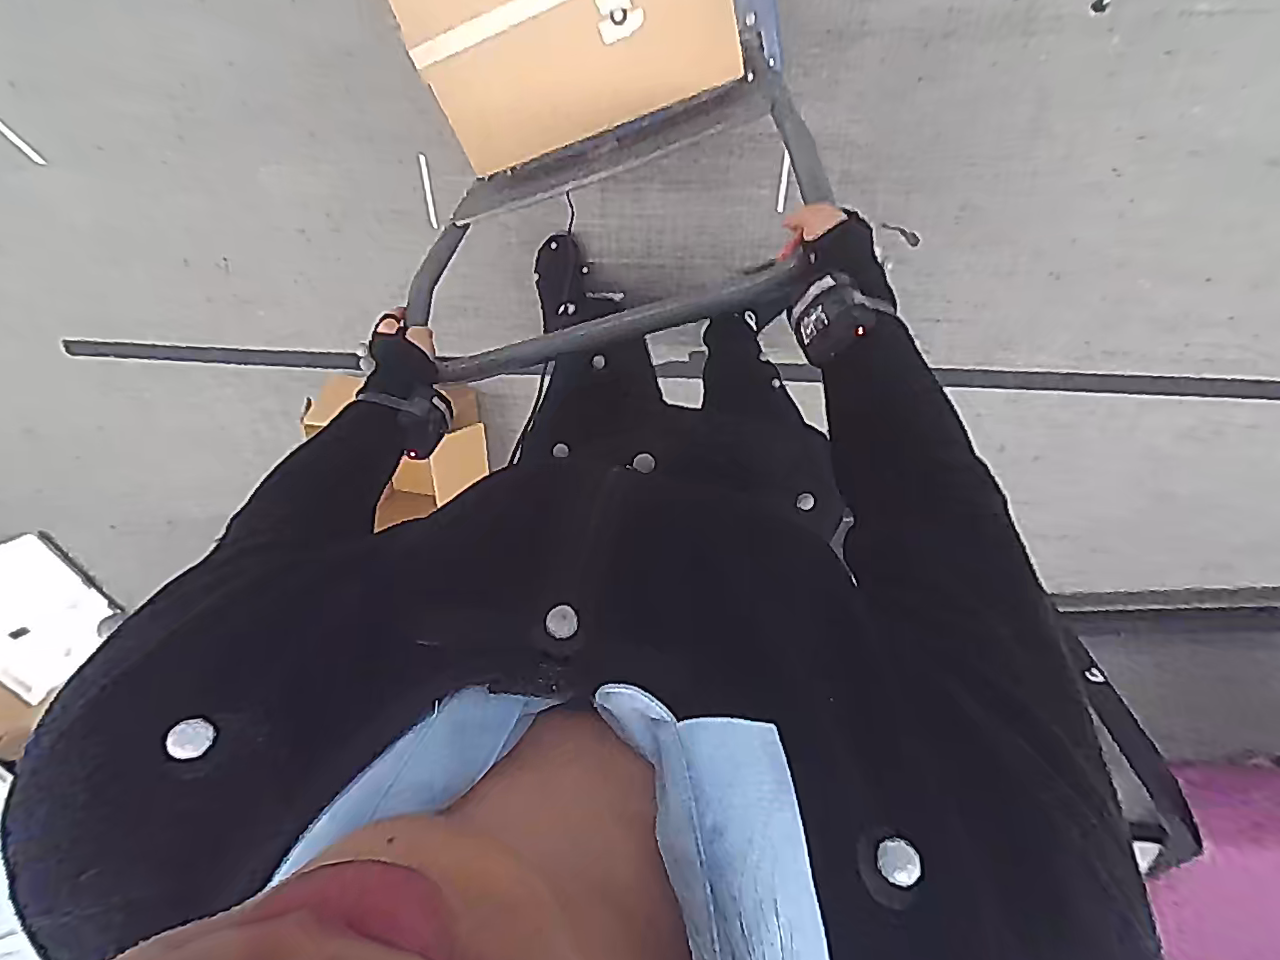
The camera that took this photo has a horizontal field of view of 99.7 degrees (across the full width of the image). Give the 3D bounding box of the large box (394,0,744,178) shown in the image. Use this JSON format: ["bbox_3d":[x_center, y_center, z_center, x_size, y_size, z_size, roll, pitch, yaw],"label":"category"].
[{"bbox_3d":[-0.096,-0.704,0.770,0.408,0.320,0.320,-13,133,16],"label":"large box"}]
